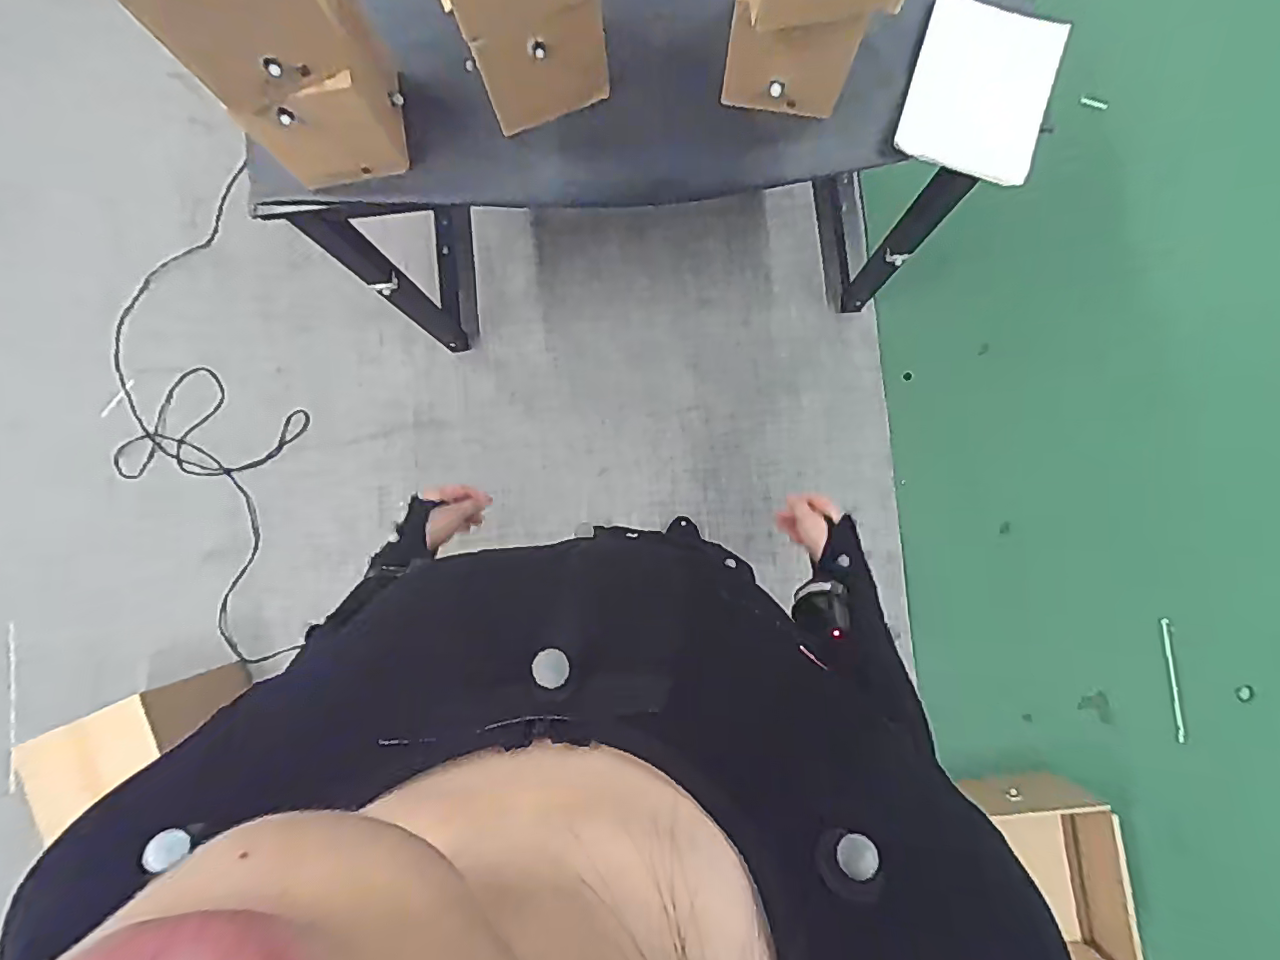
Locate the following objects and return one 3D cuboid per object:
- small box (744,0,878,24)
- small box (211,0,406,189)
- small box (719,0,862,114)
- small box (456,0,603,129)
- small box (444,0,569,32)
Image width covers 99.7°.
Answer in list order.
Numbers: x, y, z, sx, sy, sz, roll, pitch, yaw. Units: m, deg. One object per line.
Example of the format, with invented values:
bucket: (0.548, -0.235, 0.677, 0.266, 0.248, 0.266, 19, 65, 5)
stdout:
small box: (0.205, -0.644, 0.578, 0.179, 0.176, 0.168, -6, 84, 3)
small box: (-0.454, -0.553, 0.762, 0.168, 0.176, 0.179, -10, 85, 1)
small box: (0.208, -0.654, 0.742, 0.168, 0.176, 0.179, 10, 86, 4)
small box: (-0.164, -0.643, 0.760, 0.179, 0.176, 0.168, -22, 85, 0)
small box: (-0.171, -0.653, 0.595, 0.179, 0.176, 0.168, -19, 85, 1)
